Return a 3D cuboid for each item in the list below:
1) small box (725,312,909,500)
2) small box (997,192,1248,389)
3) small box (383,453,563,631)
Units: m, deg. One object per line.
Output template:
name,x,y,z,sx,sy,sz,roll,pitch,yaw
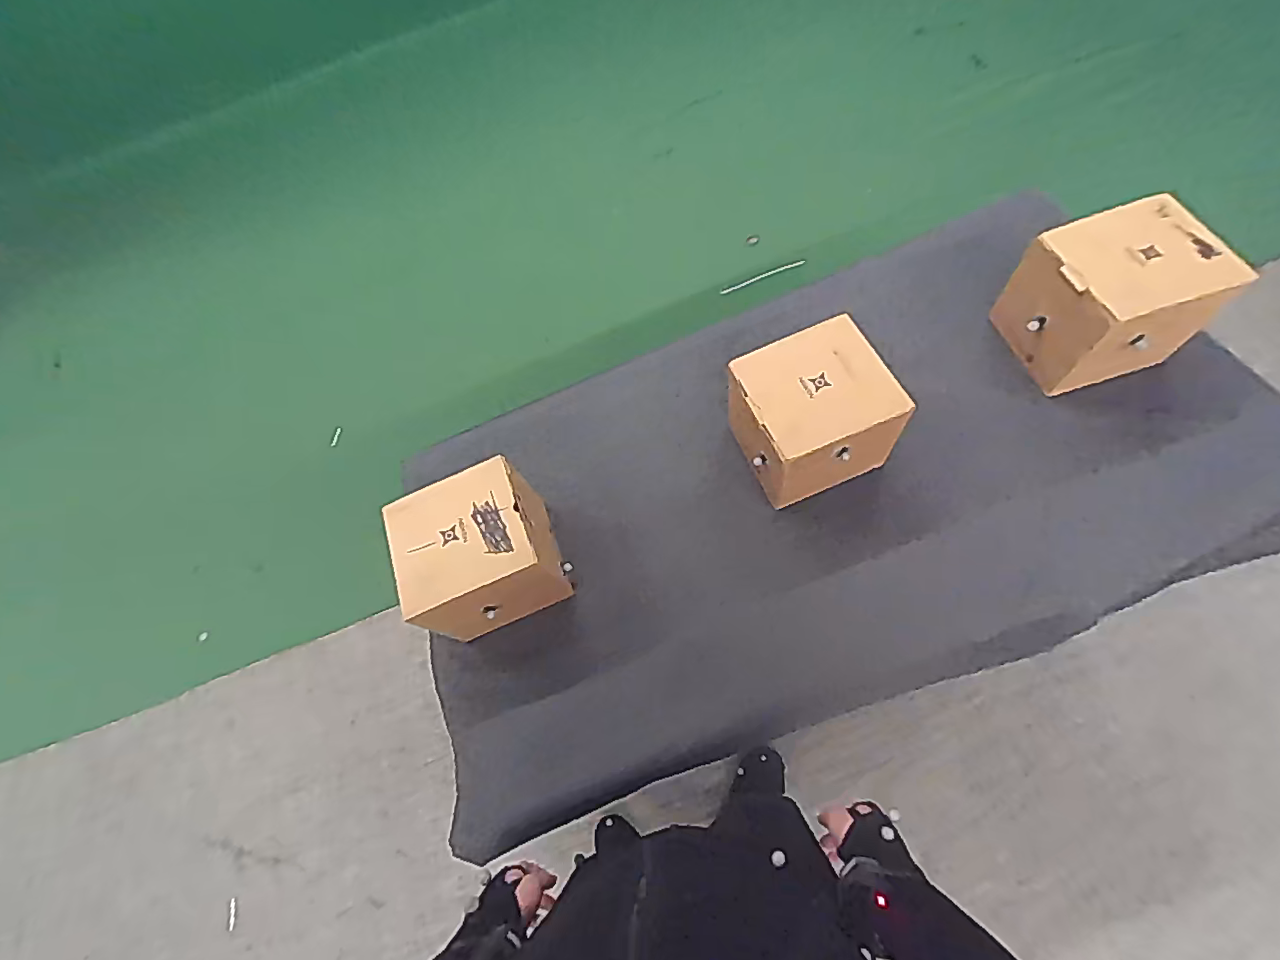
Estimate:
small box,0.233,-0.094,0.759,0.179,0.176,0.168,-22,66,-2
small box,0.639,-0.253,0.754,0.179,0.176,0.168,-17,65,3
small box,-0.219,0.094,0.752,0.179,0.176,0.168,-24,64,0
